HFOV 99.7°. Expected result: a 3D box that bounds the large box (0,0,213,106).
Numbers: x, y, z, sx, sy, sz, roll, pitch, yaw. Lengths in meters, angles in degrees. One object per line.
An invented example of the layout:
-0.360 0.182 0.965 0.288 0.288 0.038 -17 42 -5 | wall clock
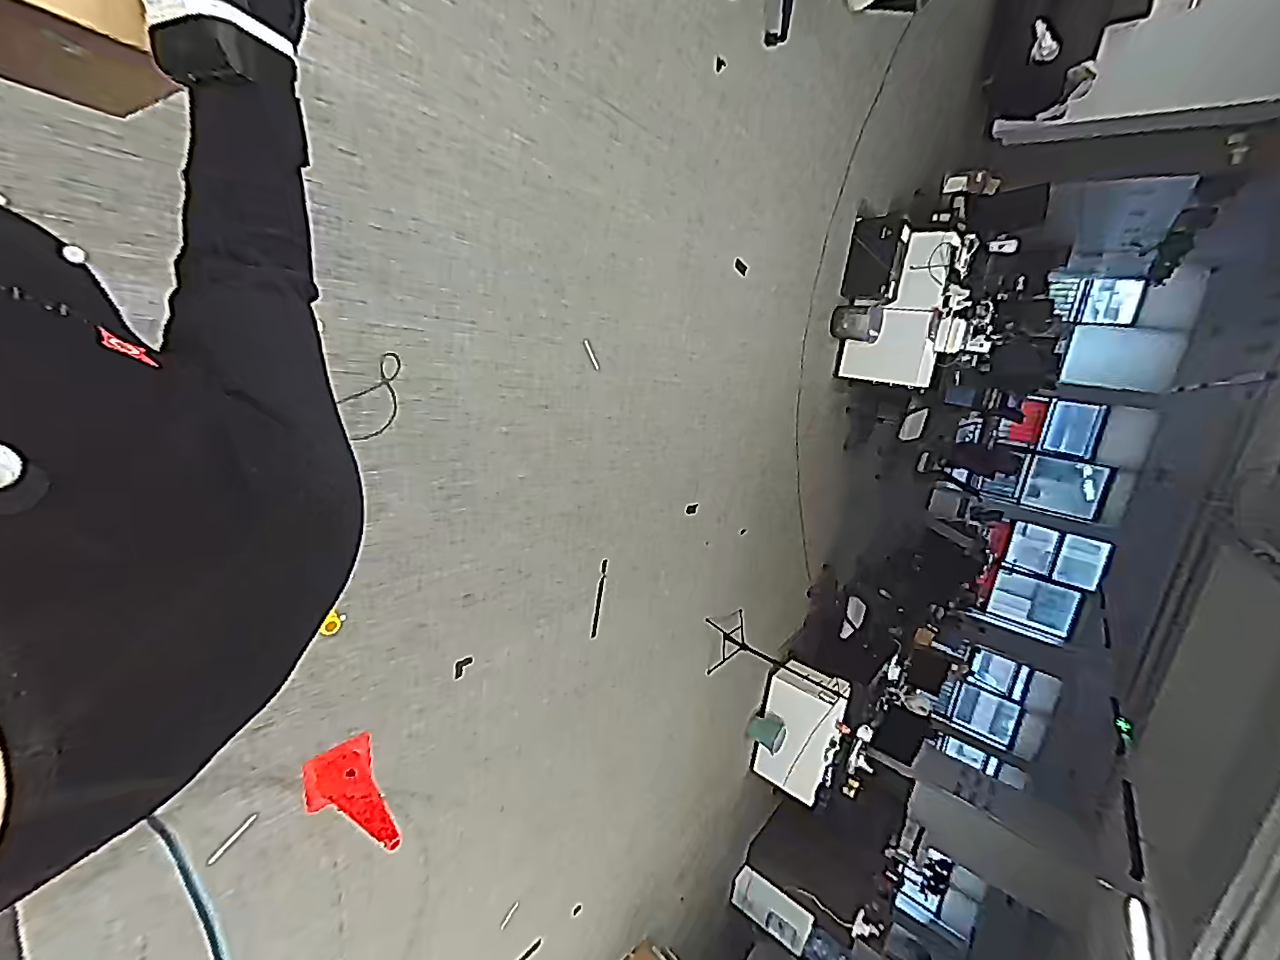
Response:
-0.523 -0.471 0.287 0.408 0.320 0.320 -7 113 -52 | large box

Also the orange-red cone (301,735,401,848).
-0.817 0.957 1.593 0.198 0.360 0.199 -13 113 -51 | orange-red cone
